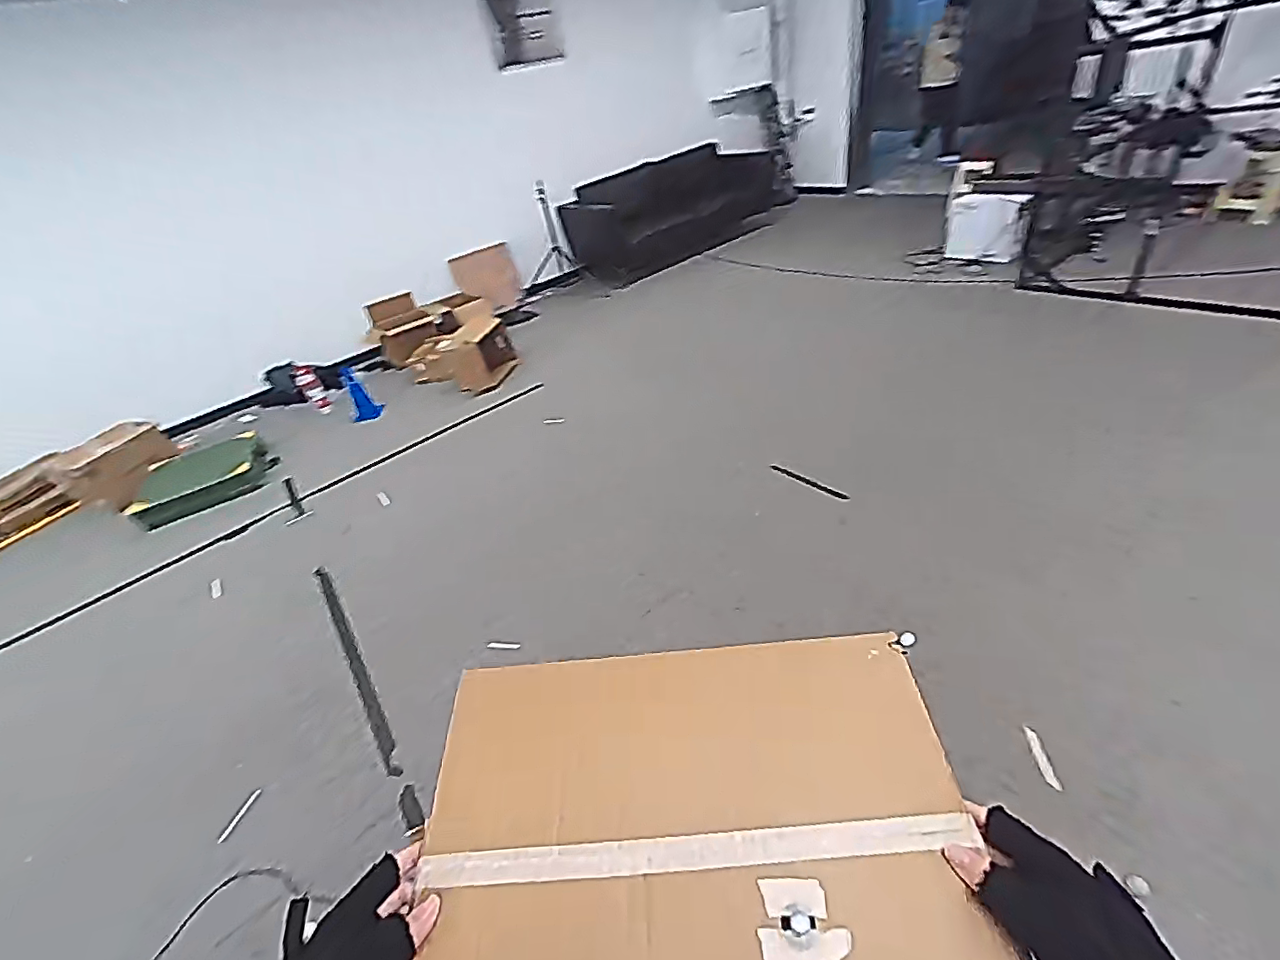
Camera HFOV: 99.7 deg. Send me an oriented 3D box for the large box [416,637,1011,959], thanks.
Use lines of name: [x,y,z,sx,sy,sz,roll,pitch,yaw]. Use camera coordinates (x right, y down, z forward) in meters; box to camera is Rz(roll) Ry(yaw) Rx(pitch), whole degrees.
large box: [0.051,0.383,0.509,0.408,0.320,0.320,-6,45,2]
